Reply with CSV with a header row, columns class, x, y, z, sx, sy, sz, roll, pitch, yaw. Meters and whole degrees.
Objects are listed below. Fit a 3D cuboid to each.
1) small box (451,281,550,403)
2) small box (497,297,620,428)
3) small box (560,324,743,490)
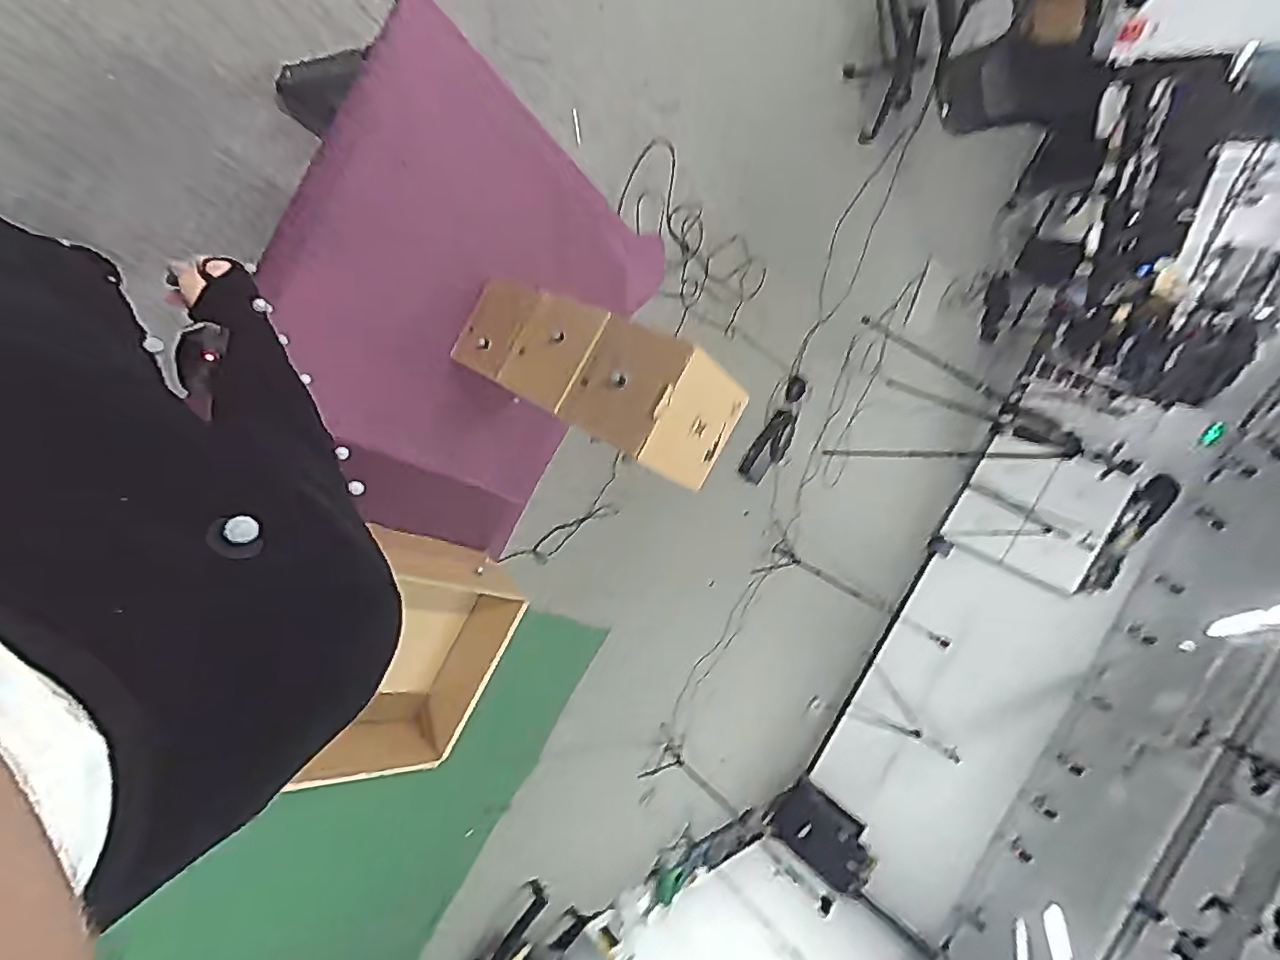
class,x,y,z,sx,sy,sz,roll,pitch,yaw
small box,-0.210,-0.243,0.990,0.179,0.176,0.168,28,92,-53
small box,-0.101,-0.180,0.889,0.179,0.176,0.168,27,93,-53
small box,0.015,-0.111,0.794,0.179,0.176,0.168,27,94,-53
